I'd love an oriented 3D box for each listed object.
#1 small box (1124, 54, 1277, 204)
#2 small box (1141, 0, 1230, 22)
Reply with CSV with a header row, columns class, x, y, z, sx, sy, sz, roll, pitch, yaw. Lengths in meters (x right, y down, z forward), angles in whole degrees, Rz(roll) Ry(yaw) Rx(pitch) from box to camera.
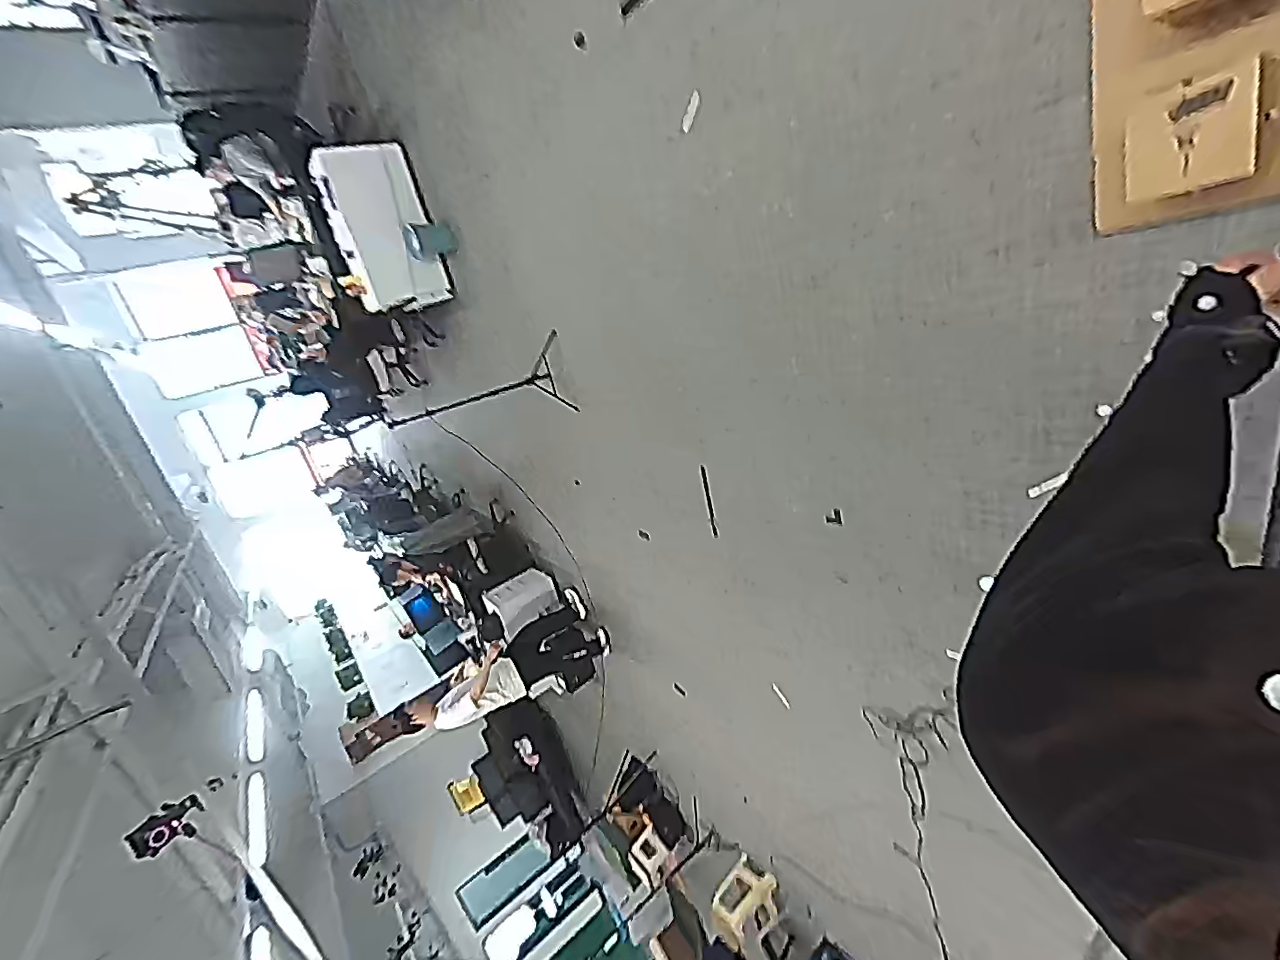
class,x,y,z,sx,sy,sz,roll,pitch,yaw
small box,1.002,-0.622,0.970,0.168,0.176,0.179,9,121,55
small box,0.941,-0.881,0.868,0.168,0.176,0.179,11,121,55
